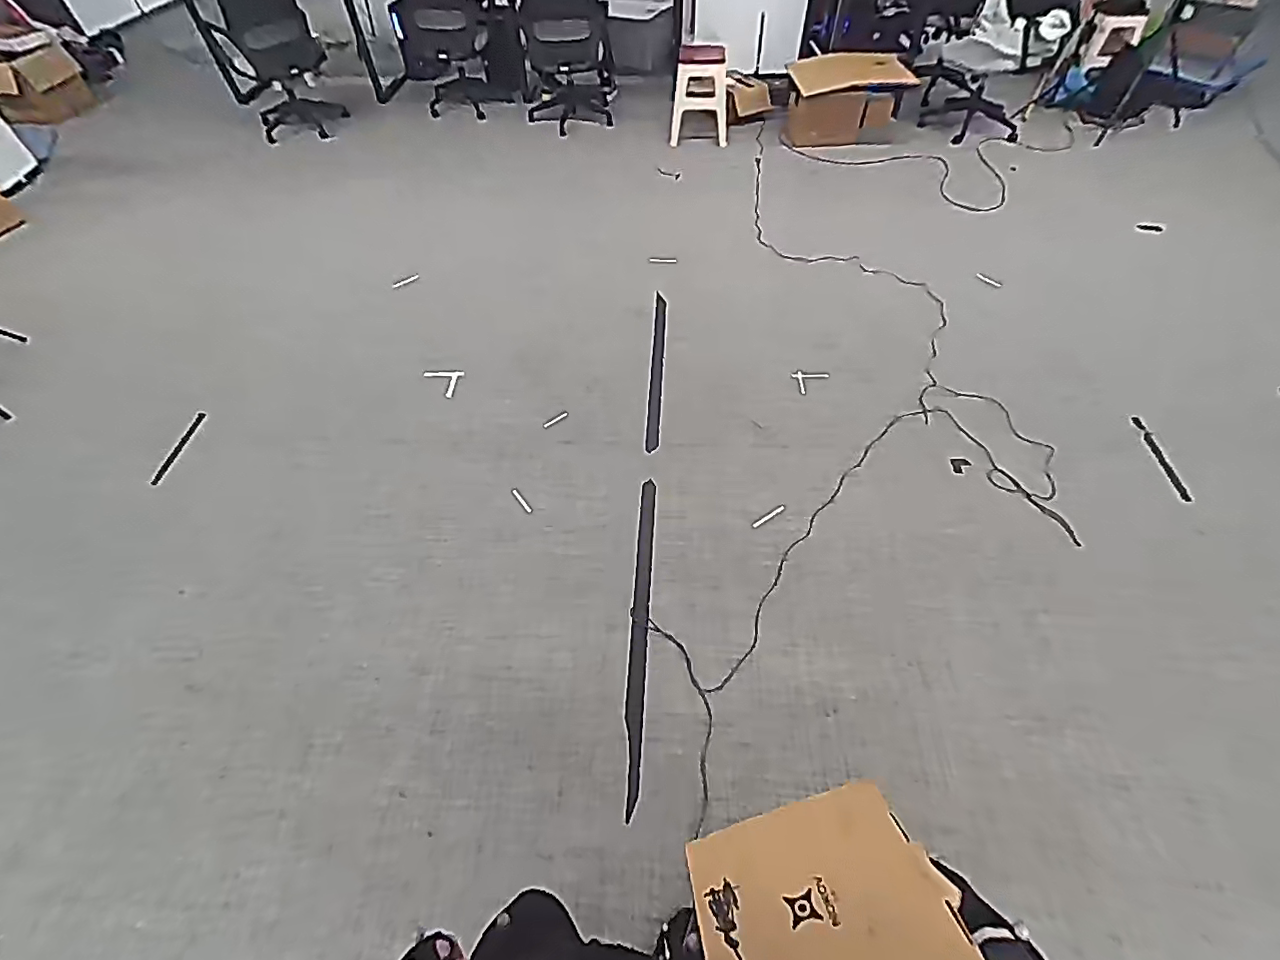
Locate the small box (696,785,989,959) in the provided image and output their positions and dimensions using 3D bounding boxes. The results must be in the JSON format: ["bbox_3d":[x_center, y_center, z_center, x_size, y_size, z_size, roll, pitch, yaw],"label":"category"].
[{"bbox_3d":[0.161,0.392,0.425,0.179,0.176,0.168,-19,14,0],"label":"small box"}]
